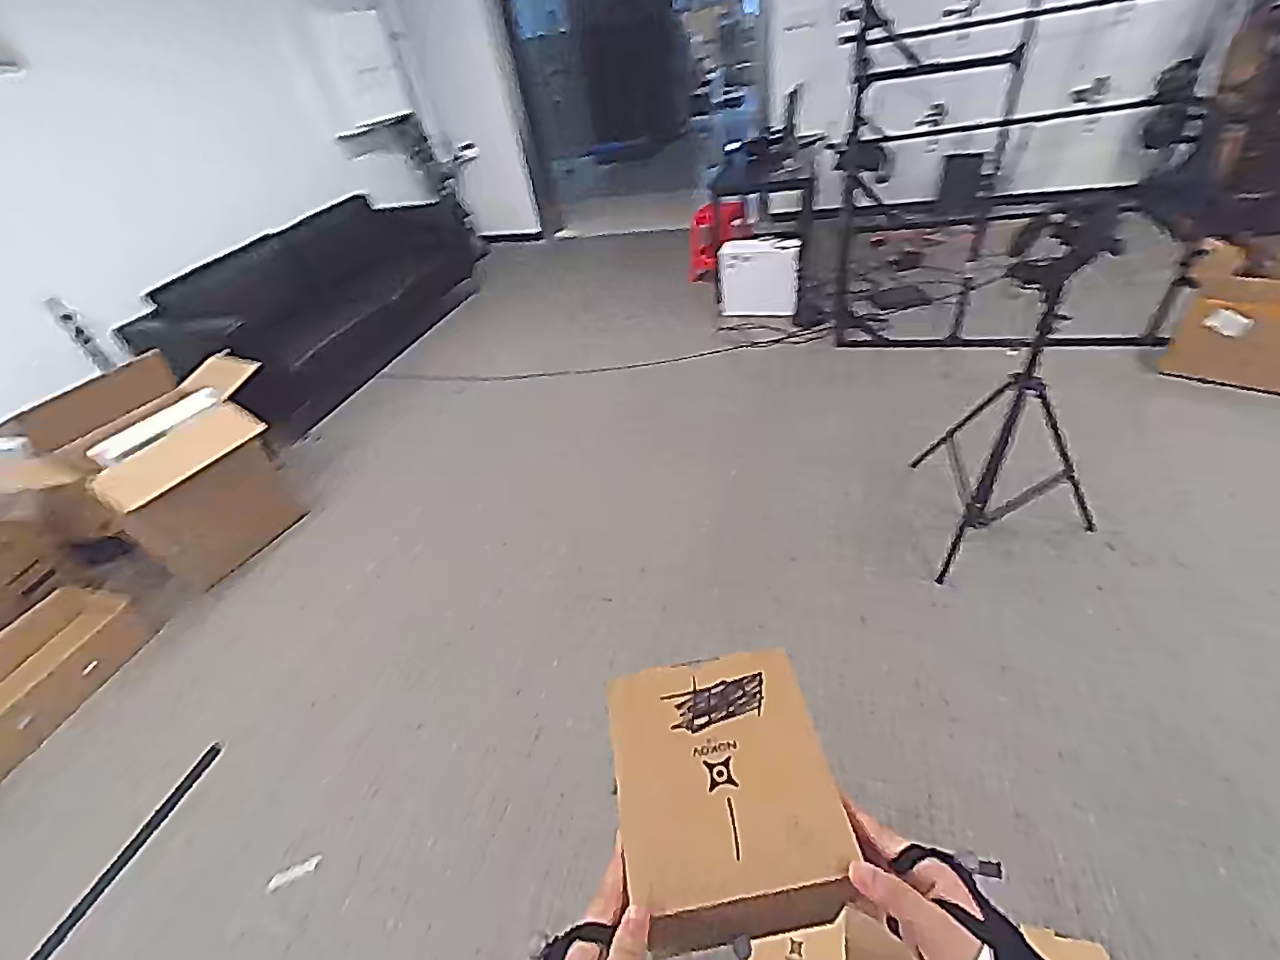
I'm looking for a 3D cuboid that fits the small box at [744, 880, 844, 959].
[{"bbox_3d":[0.276,0.880,0.988,0.168,0.176,0.179,5,42,17],"label":"small box"}]

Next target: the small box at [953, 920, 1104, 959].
[{"bbox_3d":[0.577,0.785,0.786,0.168,0.176,0.179,1,41,15],"label":"small box"}]
